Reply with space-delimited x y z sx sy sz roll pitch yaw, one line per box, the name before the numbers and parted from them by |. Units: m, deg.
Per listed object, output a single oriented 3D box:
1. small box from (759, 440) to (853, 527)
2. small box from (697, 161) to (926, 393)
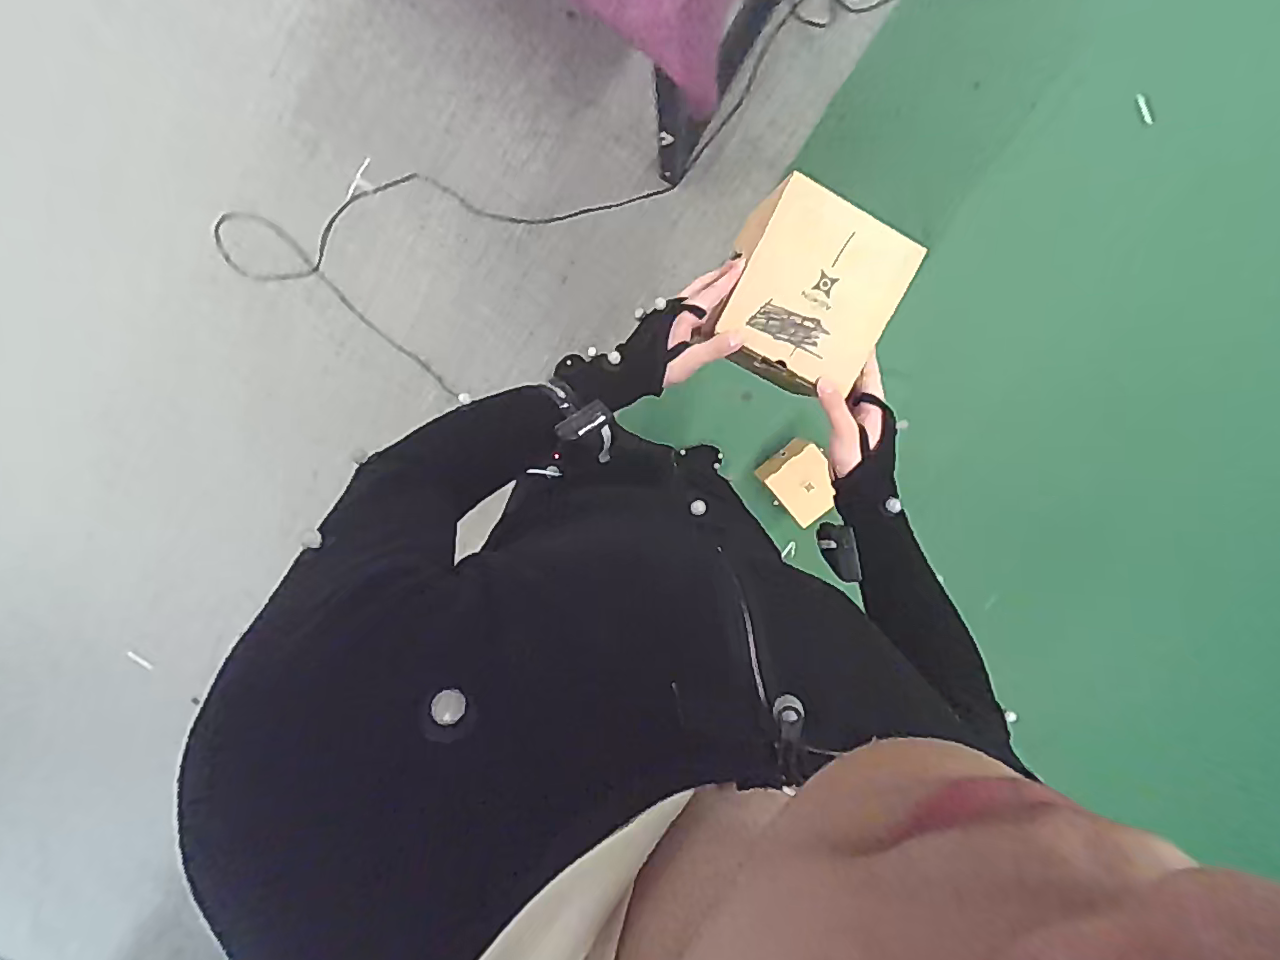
small box | 0.458 0.002 1.521 0.168 0.176 0.179 -39 94 8
small box | 0.178 -0.218 0.628 0.168 0.176 0.179 25 100 -8
